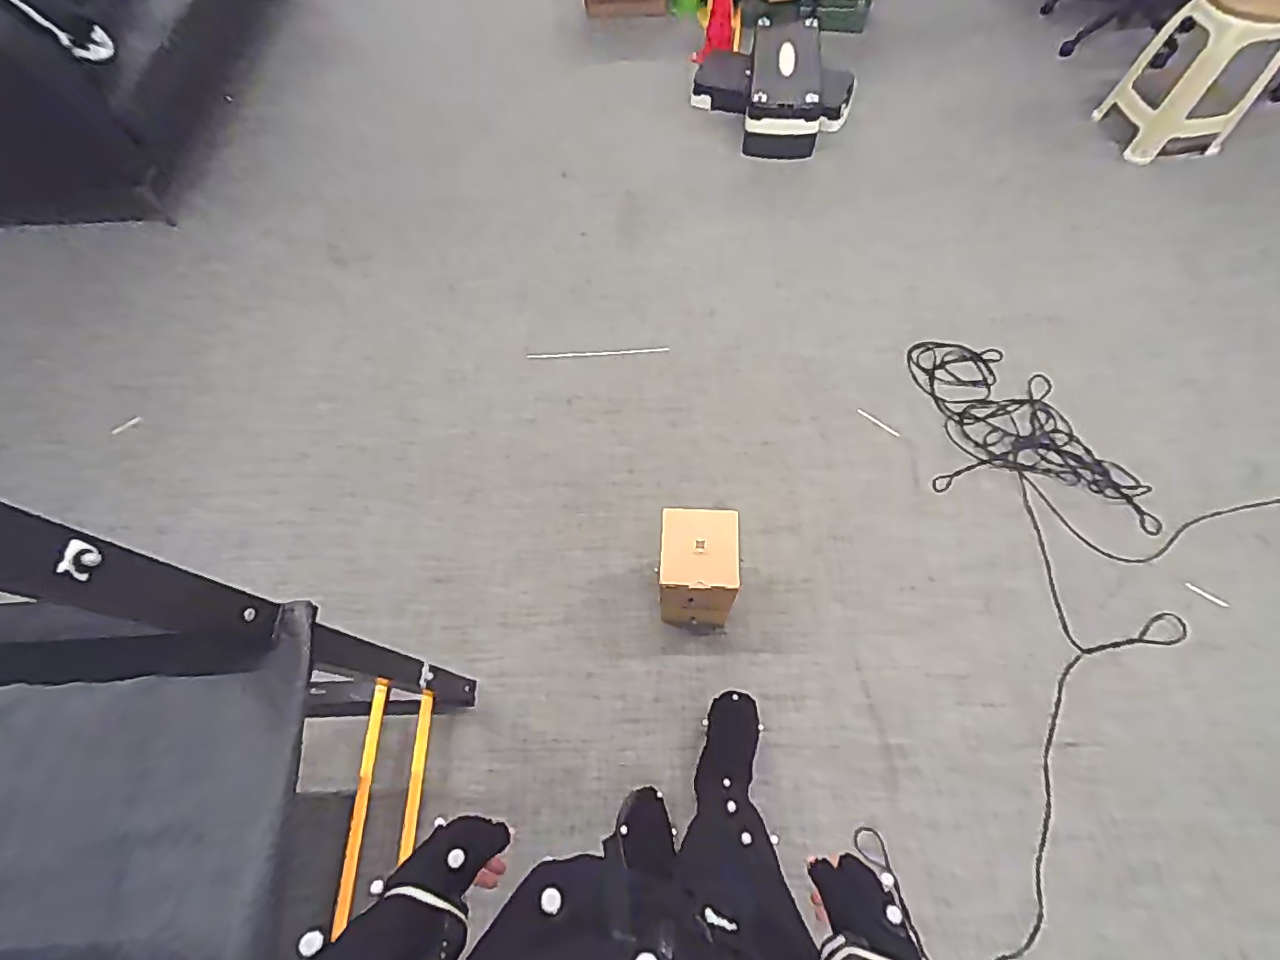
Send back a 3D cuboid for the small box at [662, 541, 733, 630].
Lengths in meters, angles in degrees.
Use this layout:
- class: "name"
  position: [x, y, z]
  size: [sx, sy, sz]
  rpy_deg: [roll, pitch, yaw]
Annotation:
- class: "small box"
  position: [0.144, 0.267, 1.363]
  size: [0.168, 0.176, 0.179]
  rpy_deg: [2, 64, 6]
